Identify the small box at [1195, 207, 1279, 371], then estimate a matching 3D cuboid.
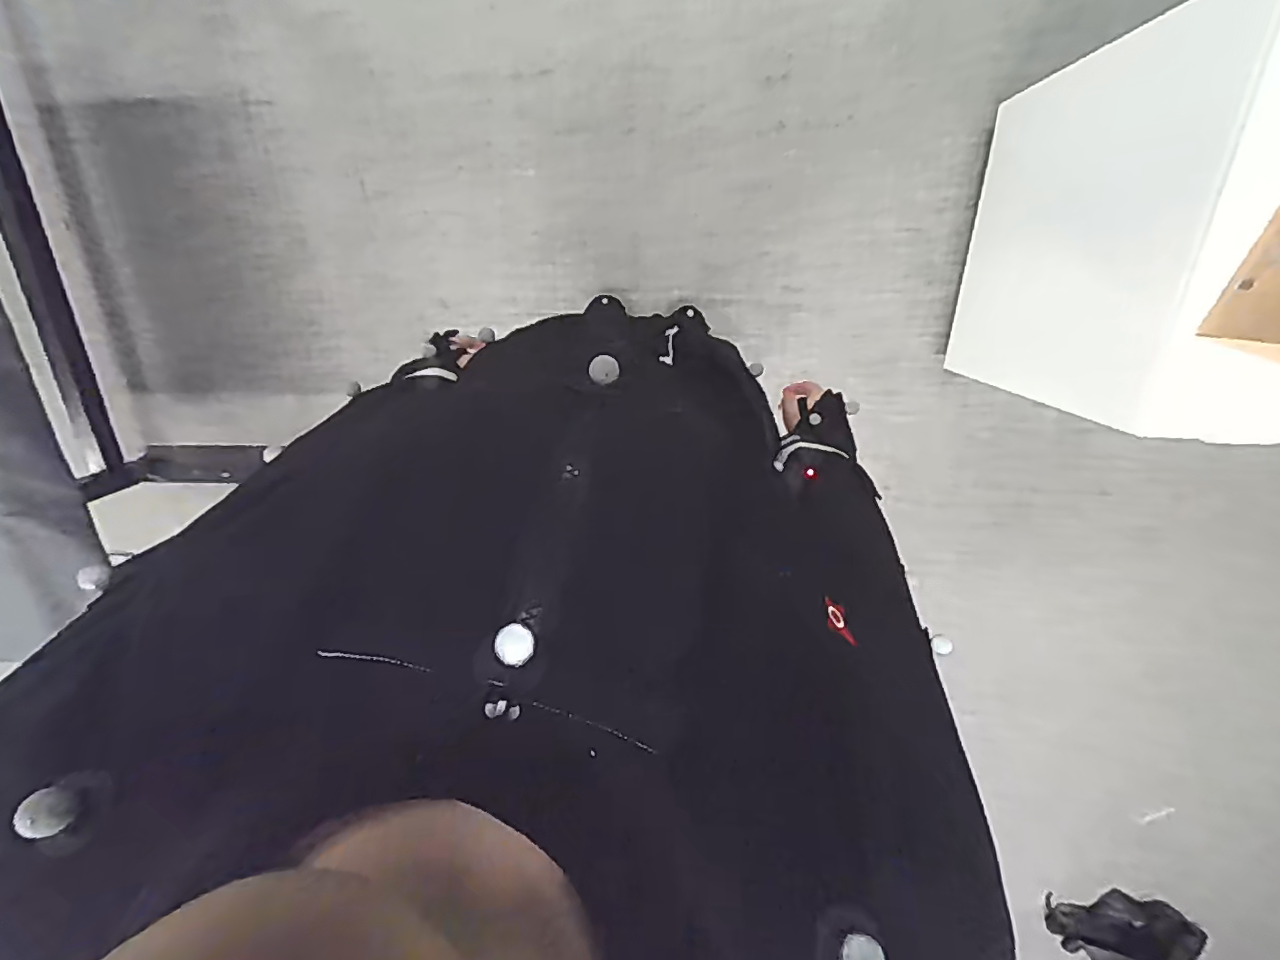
[{"bbox_3d":[0.761,-0.188,0.552,0.179,0.176,0.168,17,111,-2],"label":"small box"}]
